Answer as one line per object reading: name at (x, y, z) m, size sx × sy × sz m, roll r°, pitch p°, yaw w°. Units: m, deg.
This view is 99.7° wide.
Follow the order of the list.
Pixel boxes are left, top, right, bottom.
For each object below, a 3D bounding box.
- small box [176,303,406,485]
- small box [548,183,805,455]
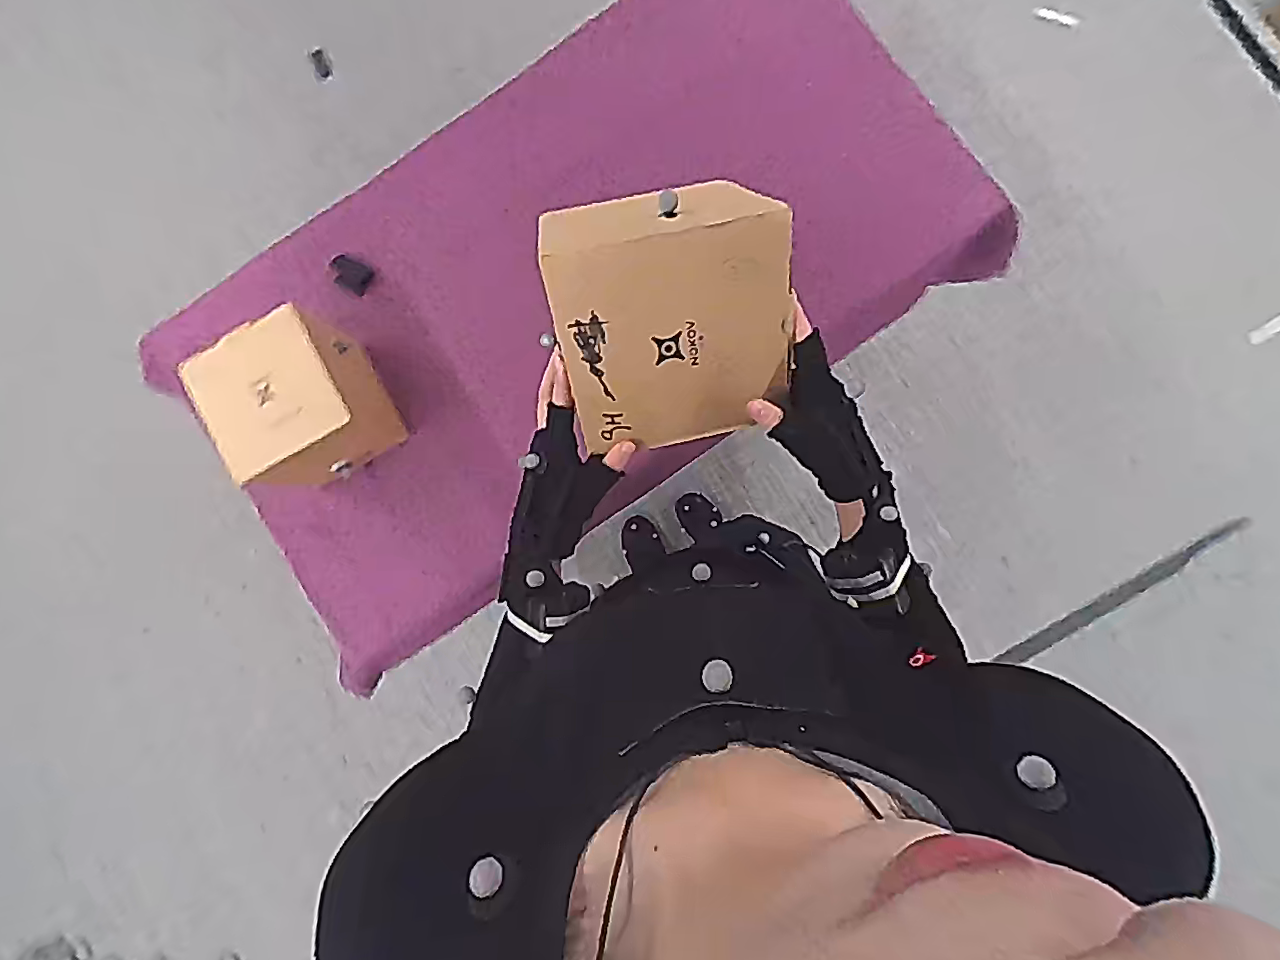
small box at (-0.465, -0.105, 0.748) m, size 0.168 × 0.176 × 0.179 m, roll -30°, pitch 87°, yaw 1°
small box at (0.023, -0.146, 0.466) m, size 0.179 × 0.176 × 0.168 m, roll -11°, pitch 124°, yaw -3°
